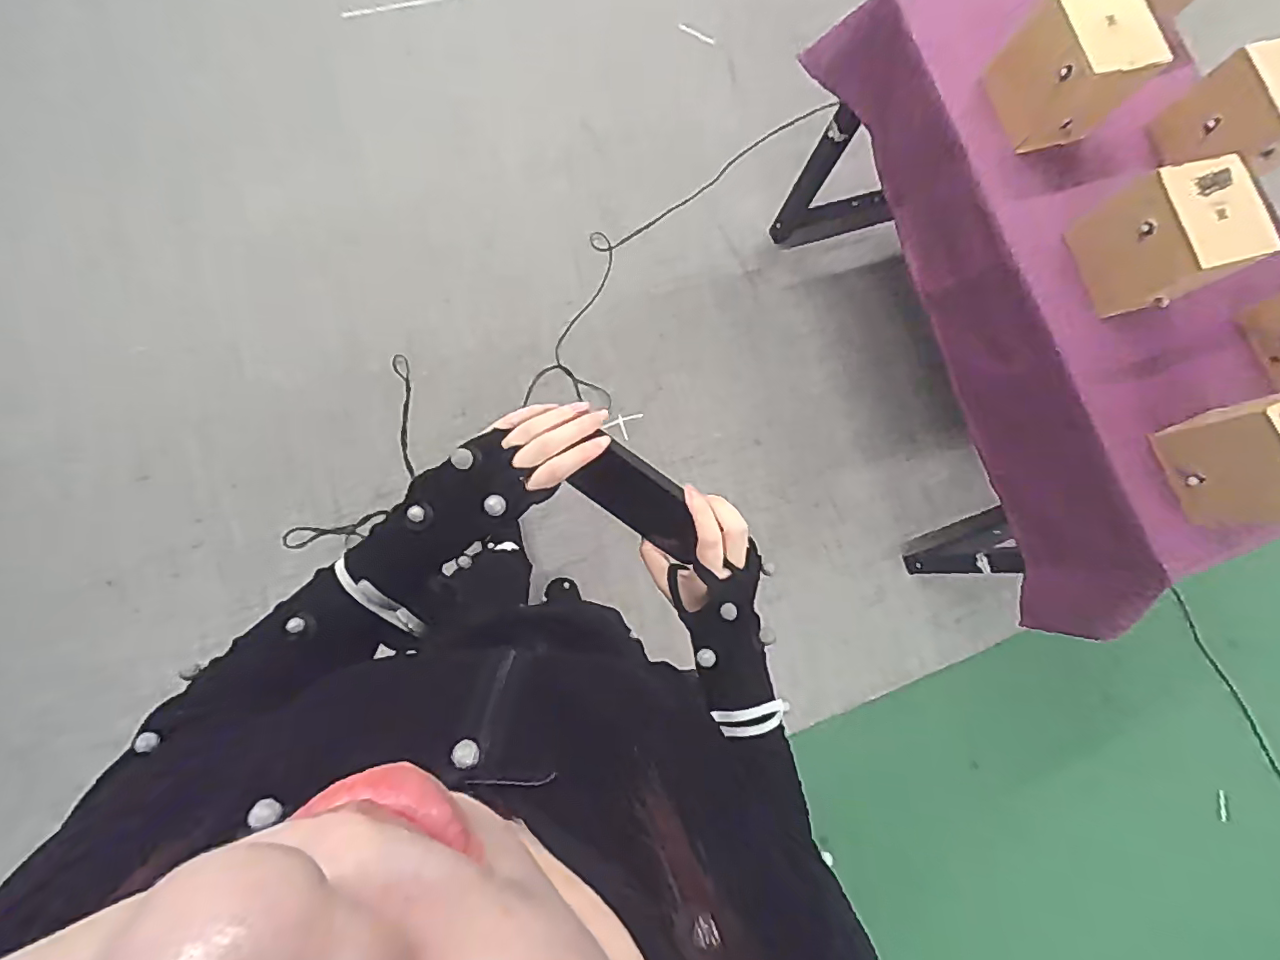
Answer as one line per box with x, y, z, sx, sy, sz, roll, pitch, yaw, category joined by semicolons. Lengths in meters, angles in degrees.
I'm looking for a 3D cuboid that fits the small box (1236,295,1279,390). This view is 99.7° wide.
1.233;-0.279;0.947;0.179;0.176;0.168;-21;83;-10;small box

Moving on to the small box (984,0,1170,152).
0.762;-0.732;0.964;0.168;0.176;0.179;-17;84;-10;small box

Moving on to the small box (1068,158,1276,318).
0.891;-0.406;0.925;0.168;0.176;0.179;-15;84;-10;small box

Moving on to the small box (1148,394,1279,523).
1.000;-0.035;0.875;0.168;0.176;0.179;-19;84;-11;small box
